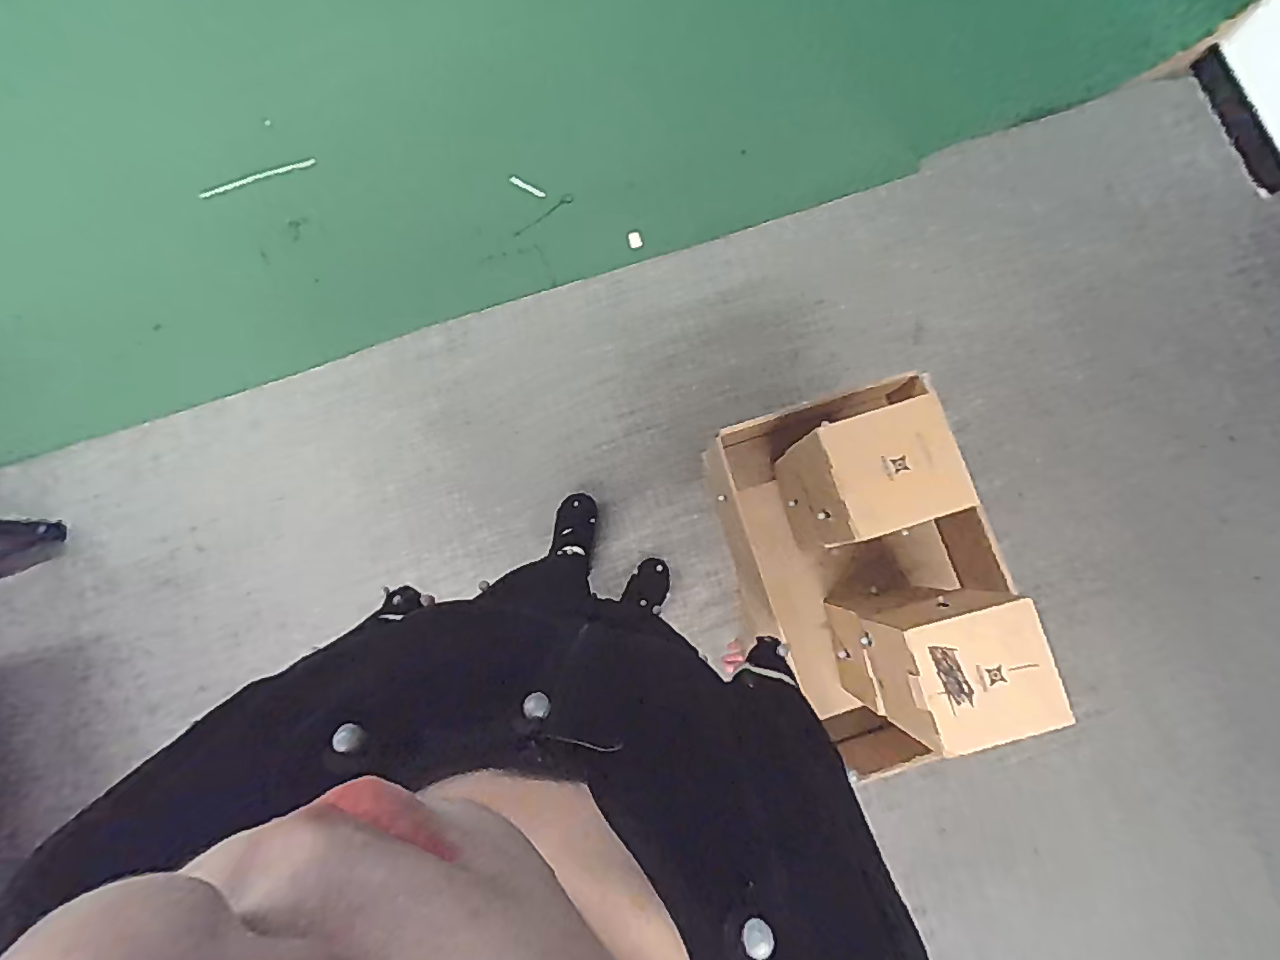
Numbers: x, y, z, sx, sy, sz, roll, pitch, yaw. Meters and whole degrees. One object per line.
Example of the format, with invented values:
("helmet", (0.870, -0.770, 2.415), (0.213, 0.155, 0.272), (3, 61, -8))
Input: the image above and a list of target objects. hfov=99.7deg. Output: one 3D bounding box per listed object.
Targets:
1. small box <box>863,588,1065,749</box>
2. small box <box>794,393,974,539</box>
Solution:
("small box", (0.446, 0.259, 0.782), (0.179, 0.176, 0.168), (-14, 83, -2))
("small box", (0.348, -0.011, 0.817), (0.179, 0.176, 0.168), (-16, 83, -2))
